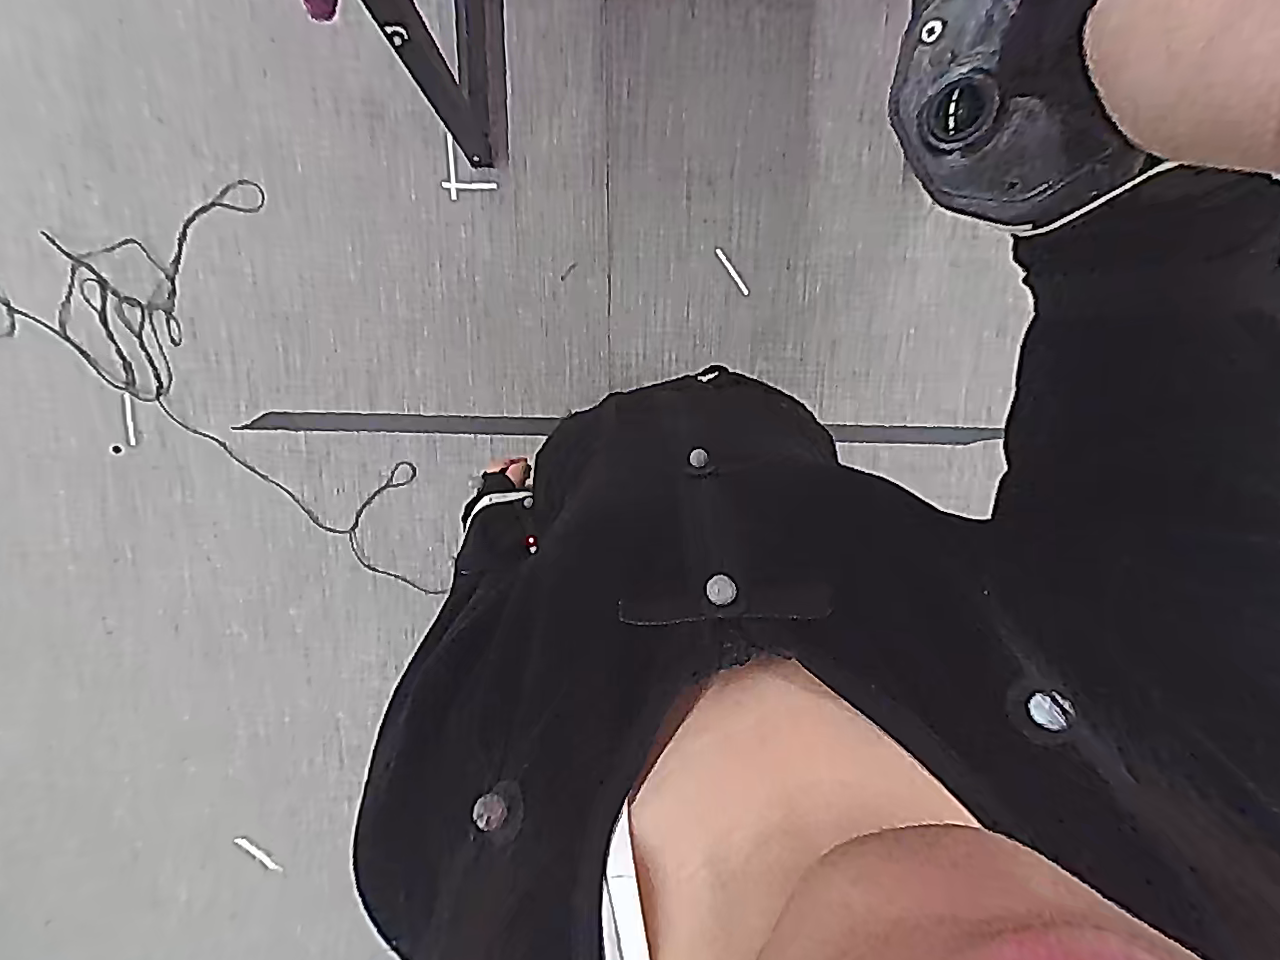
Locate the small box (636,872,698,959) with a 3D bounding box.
[{"bbox_3d":[0.075,1.311,1.610,0.168,0.176,0.179,3,99,-1],"label":"small box"}]
